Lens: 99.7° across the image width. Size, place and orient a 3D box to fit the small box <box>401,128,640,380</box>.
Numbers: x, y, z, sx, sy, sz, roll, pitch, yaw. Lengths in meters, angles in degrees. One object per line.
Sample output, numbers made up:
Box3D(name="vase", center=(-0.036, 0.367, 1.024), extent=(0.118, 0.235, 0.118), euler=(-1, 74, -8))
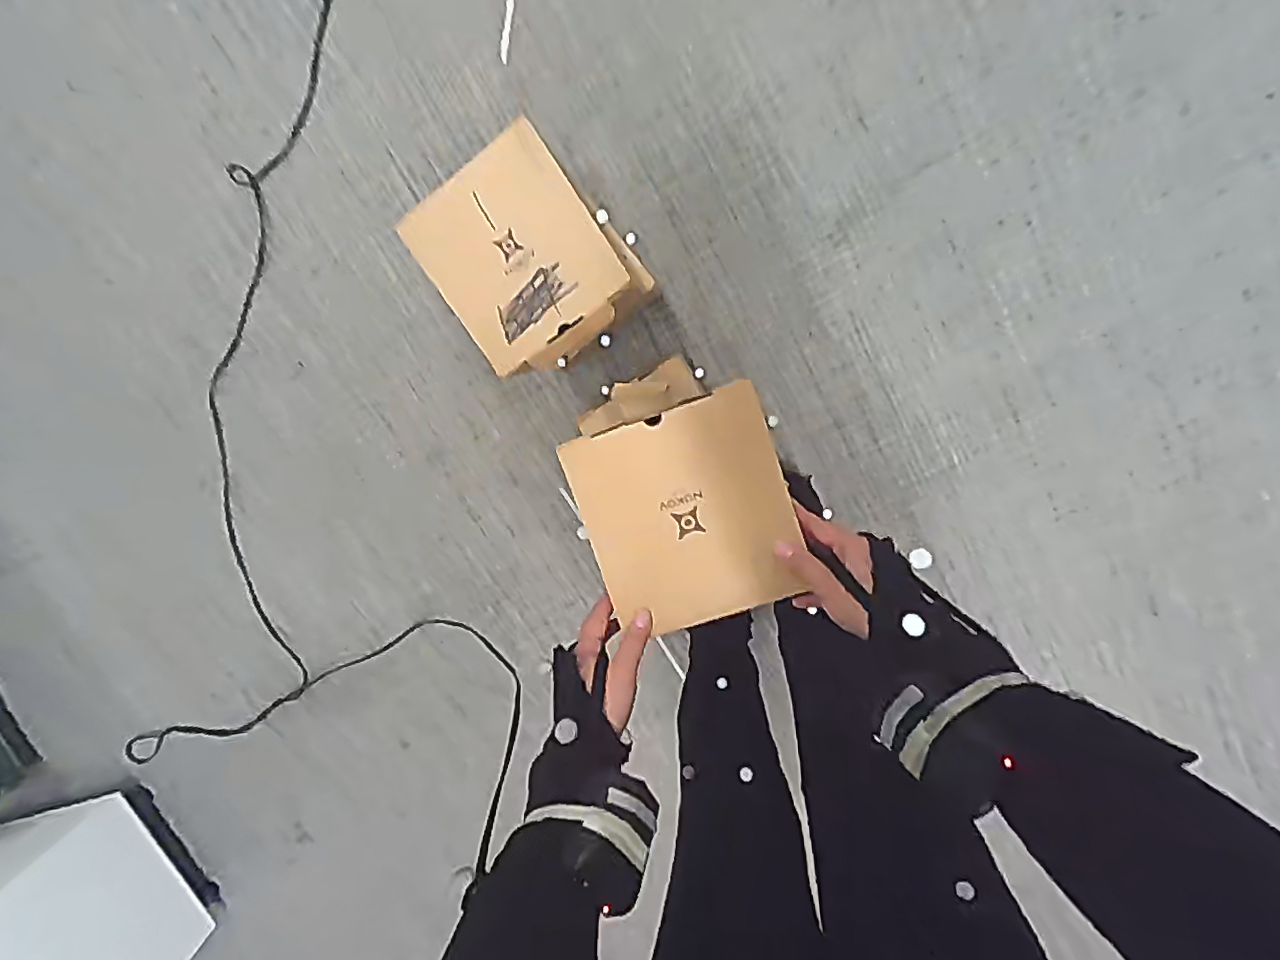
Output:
Box3D(name="small box", center=(-0.113, -0.233, 0.600), extent=(0.168, 0.176, 0.179), euler=(-33, 99, 12))

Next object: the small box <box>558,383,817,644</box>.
Box3D(name="small box", center=(0.047, 0.021, 0.506), extent=(0.168, 0.176, 0.179), euler=(-19, 94, 9))

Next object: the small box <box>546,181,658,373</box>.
Box3D(name="small box", center=(-0.089, -0.270, 0.760), extent=(0.179, 0.176, 0.168), euler=(-38, 98, 13))
